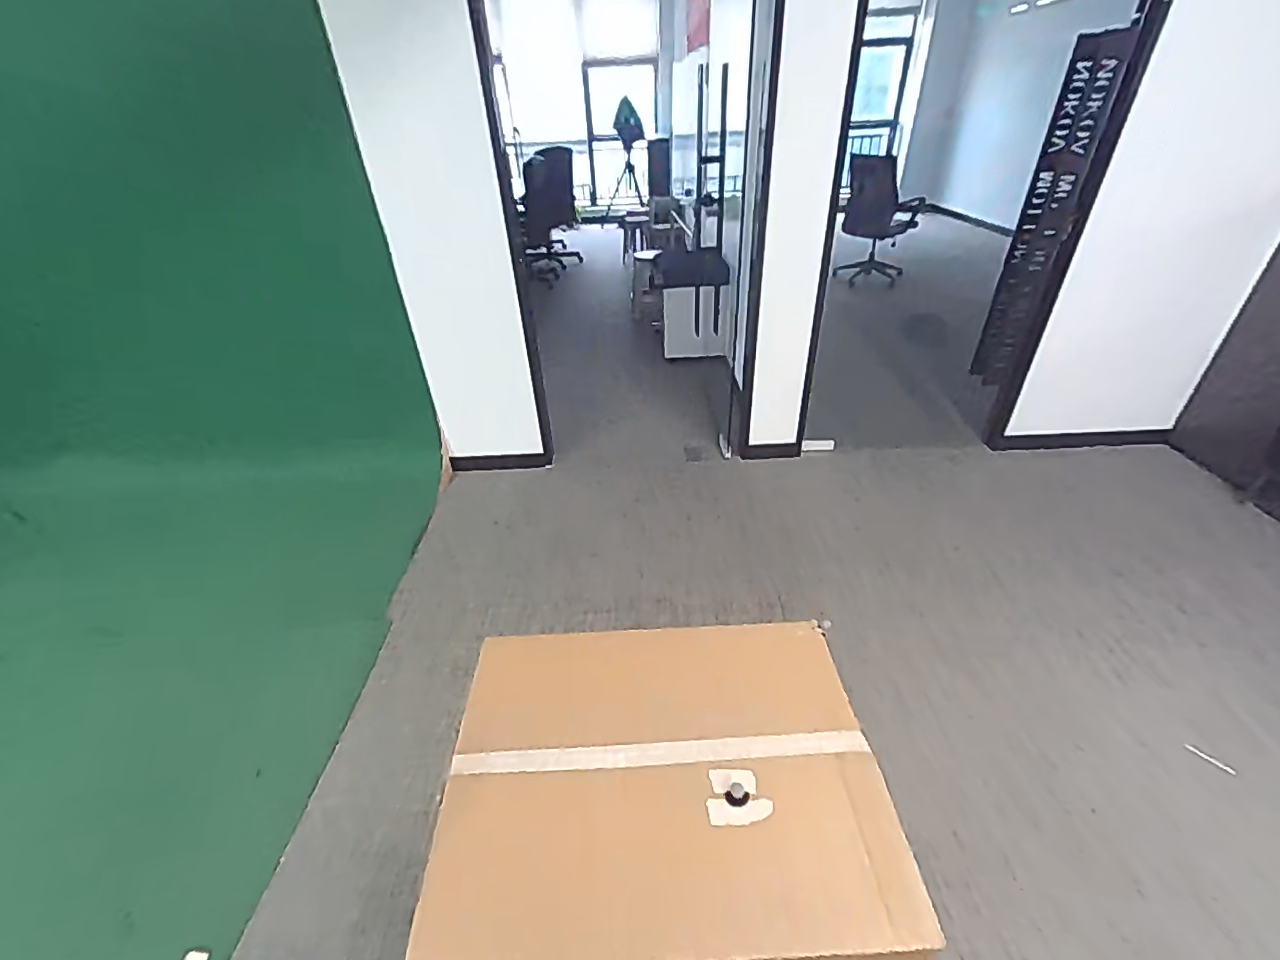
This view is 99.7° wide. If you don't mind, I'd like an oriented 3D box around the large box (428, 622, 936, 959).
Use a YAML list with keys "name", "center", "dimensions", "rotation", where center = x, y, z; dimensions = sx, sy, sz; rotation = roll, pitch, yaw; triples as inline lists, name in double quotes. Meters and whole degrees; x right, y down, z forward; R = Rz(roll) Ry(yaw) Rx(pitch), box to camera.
- name: "large box"
  center: [0.029, 0.393, 0.617]
  dimensions: [0.408, 0.320, 0.320]
  rotation: [-2, 35, -1]
